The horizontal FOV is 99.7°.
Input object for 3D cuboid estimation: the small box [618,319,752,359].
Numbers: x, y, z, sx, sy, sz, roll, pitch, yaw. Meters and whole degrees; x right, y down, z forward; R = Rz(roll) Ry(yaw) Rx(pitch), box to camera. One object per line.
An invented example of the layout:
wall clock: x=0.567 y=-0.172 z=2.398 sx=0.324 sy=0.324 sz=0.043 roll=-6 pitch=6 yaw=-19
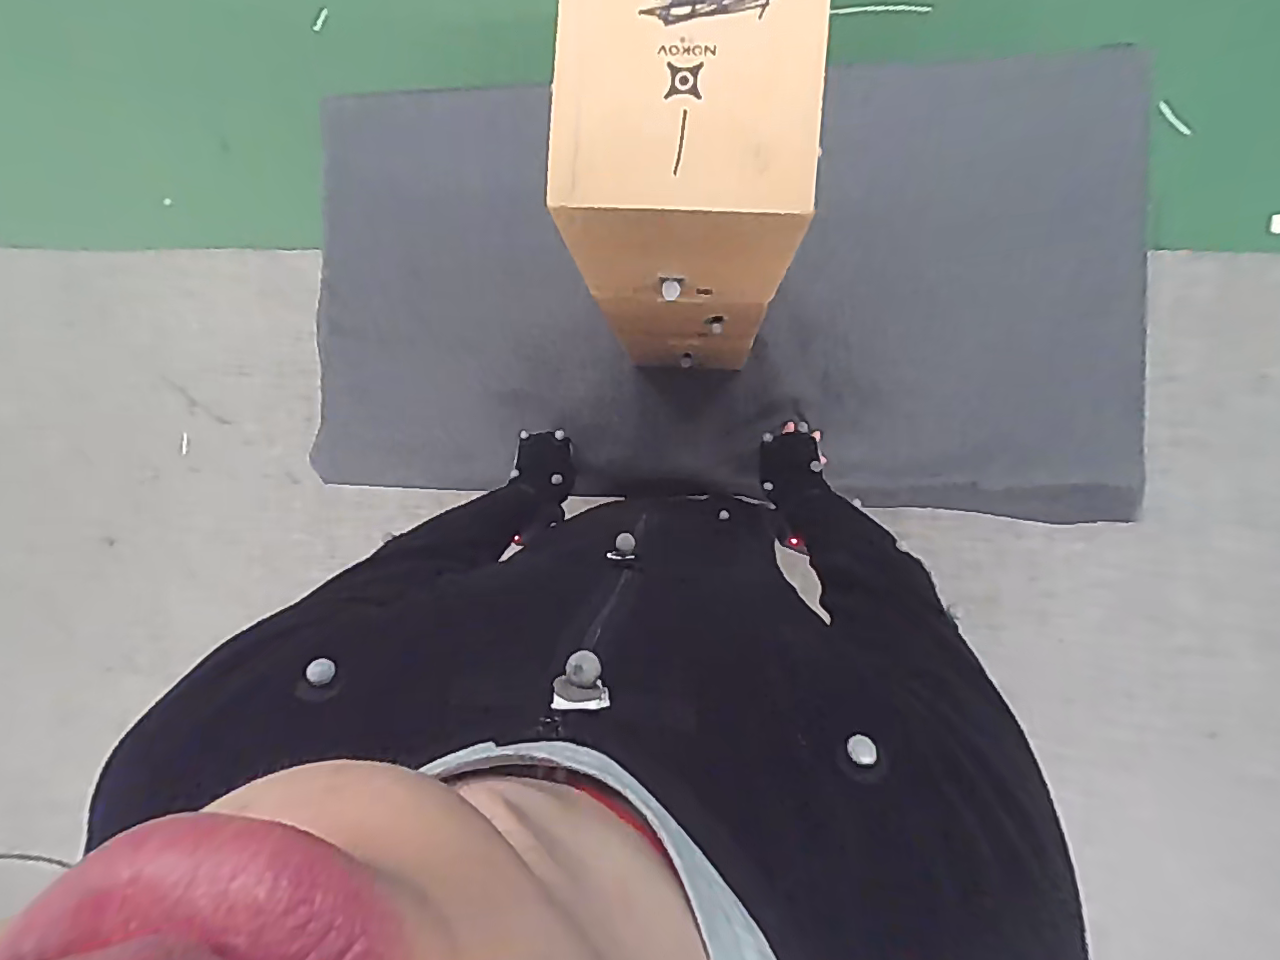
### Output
small box: x=0.069 y=-0.264 z=0.726 sx=0.168 sy=0.176 sz=0.179 roll=4 pitch=92 yaw=6

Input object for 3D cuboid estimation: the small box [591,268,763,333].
small box: x=0.048 y=-0.260 z=0.565 sx=0.168 sy=0.176 sz=0.179 roll=3 pitch=91 yaw=5

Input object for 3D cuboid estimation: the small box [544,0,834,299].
small box: x=0.036 y=-0.252 z=0.402 sx=0.168 sy=0.176 sz=0.179 roll=5 pitch=93 yaw=5
